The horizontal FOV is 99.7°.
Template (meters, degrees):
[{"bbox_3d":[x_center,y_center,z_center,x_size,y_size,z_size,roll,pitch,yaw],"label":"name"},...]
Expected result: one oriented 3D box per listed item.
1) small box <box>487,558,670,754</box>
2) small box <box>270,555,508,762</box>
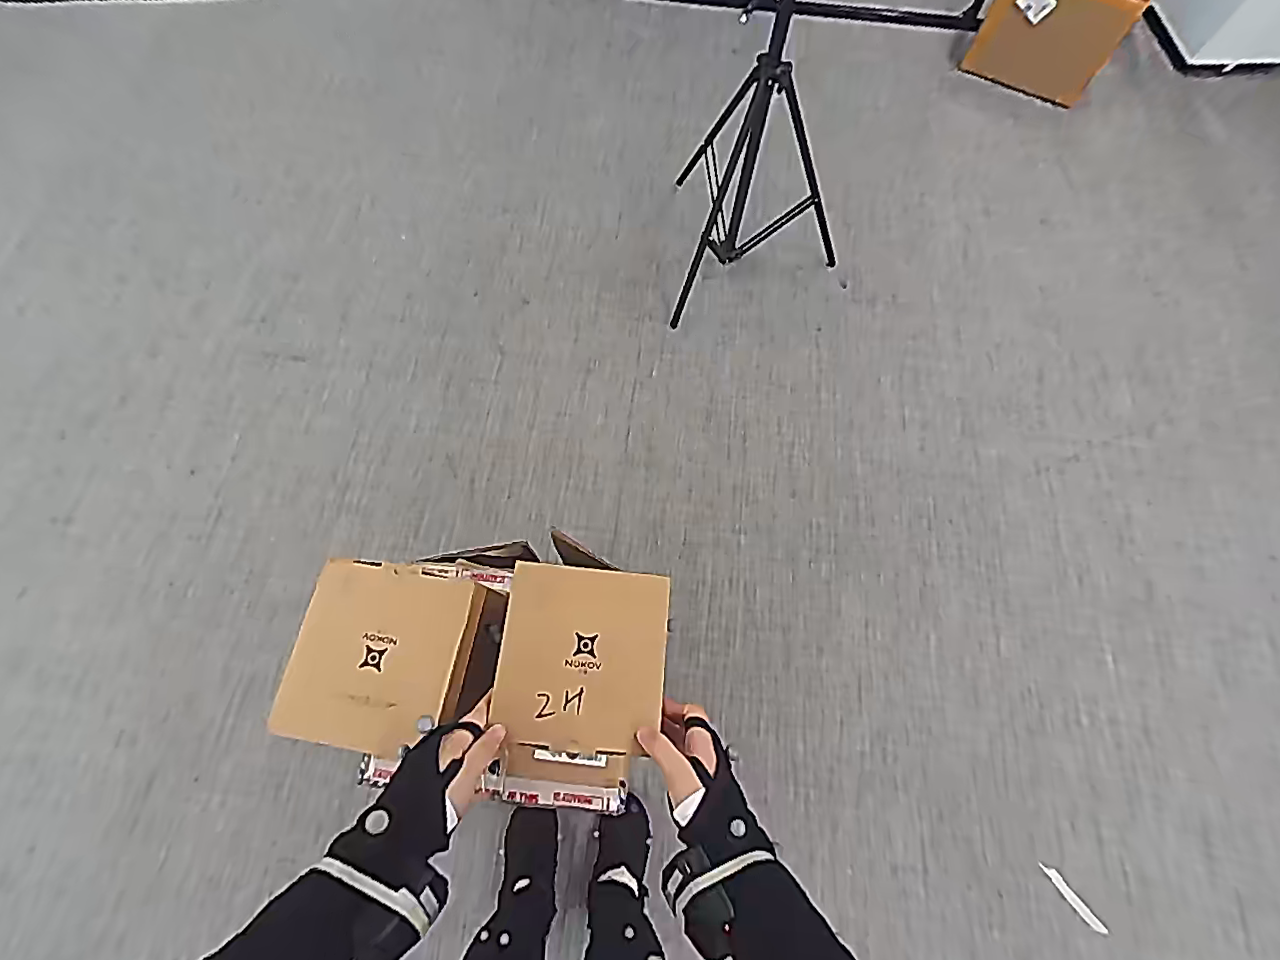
[{"bbox_3d":[-0.063,0.200,0.611,0.168,0.176,0.179,6,68,-2],"label":"small box"},{"bbox_3d":[-0.259,0.196,0.611,0.168,0.176,0.179,8,72,4],"label":"small box"}]
